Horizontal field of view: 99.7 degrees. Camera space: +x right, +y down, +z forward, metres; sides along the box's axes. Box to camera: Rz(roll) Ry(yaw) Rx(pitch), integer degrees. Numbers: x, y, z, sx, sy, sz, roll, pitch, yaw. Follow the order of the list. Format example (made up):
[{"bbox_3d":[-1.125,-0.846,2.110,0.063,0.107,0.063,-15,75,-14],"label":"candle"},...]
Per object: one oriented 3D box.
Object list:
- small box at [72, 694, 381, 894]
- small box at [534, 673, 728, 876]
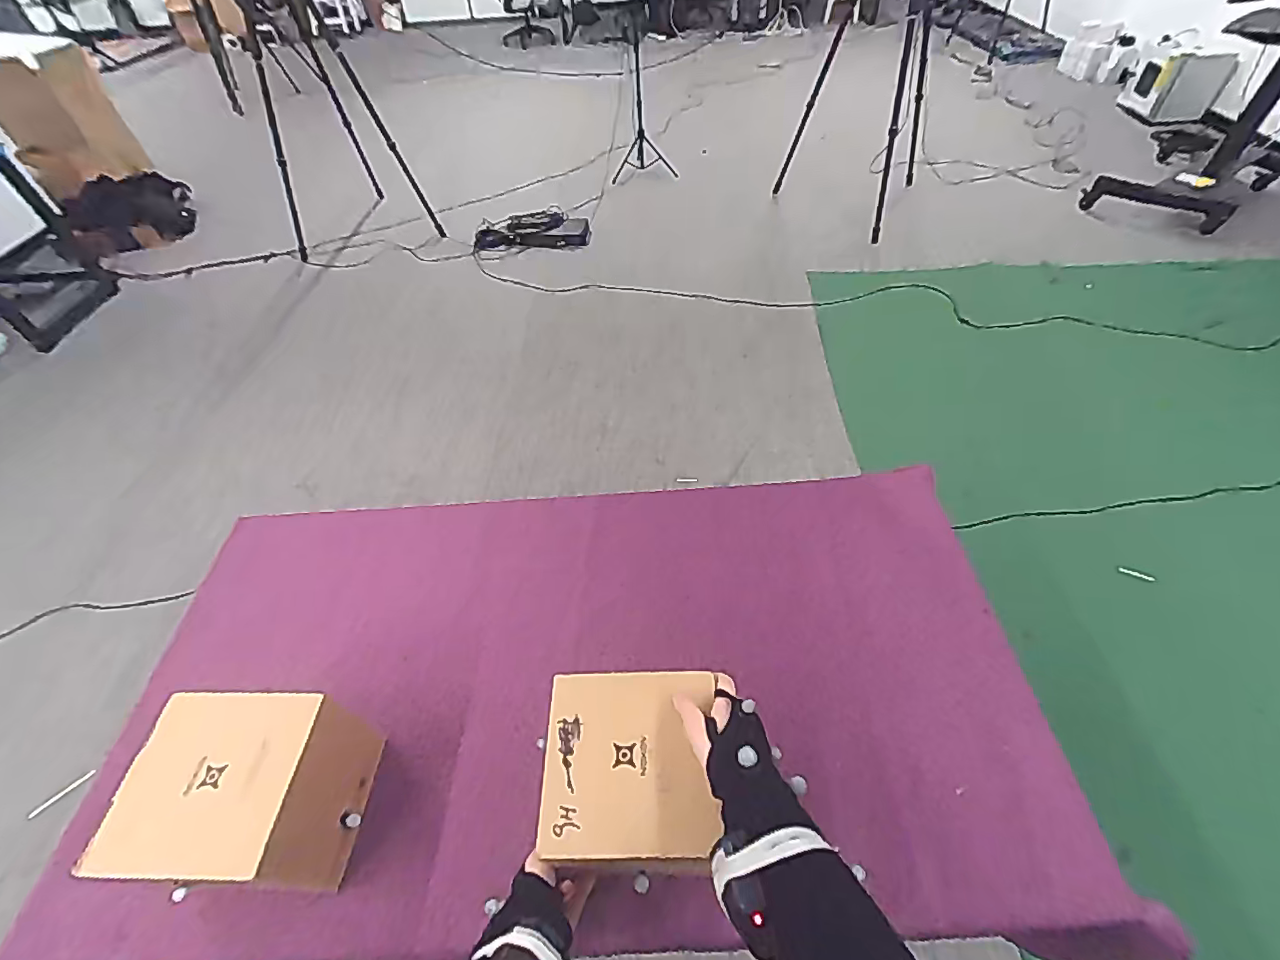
[{"bbox_3d":[-0.425,0.348,0.597,0.179,0.176,0.168,0,50,3],"label":"small box"},{"bbox_3d":[-0.005,0.322,0.591,0.179,0.176,0.168,-2,49,2],"label":"small box"}]
